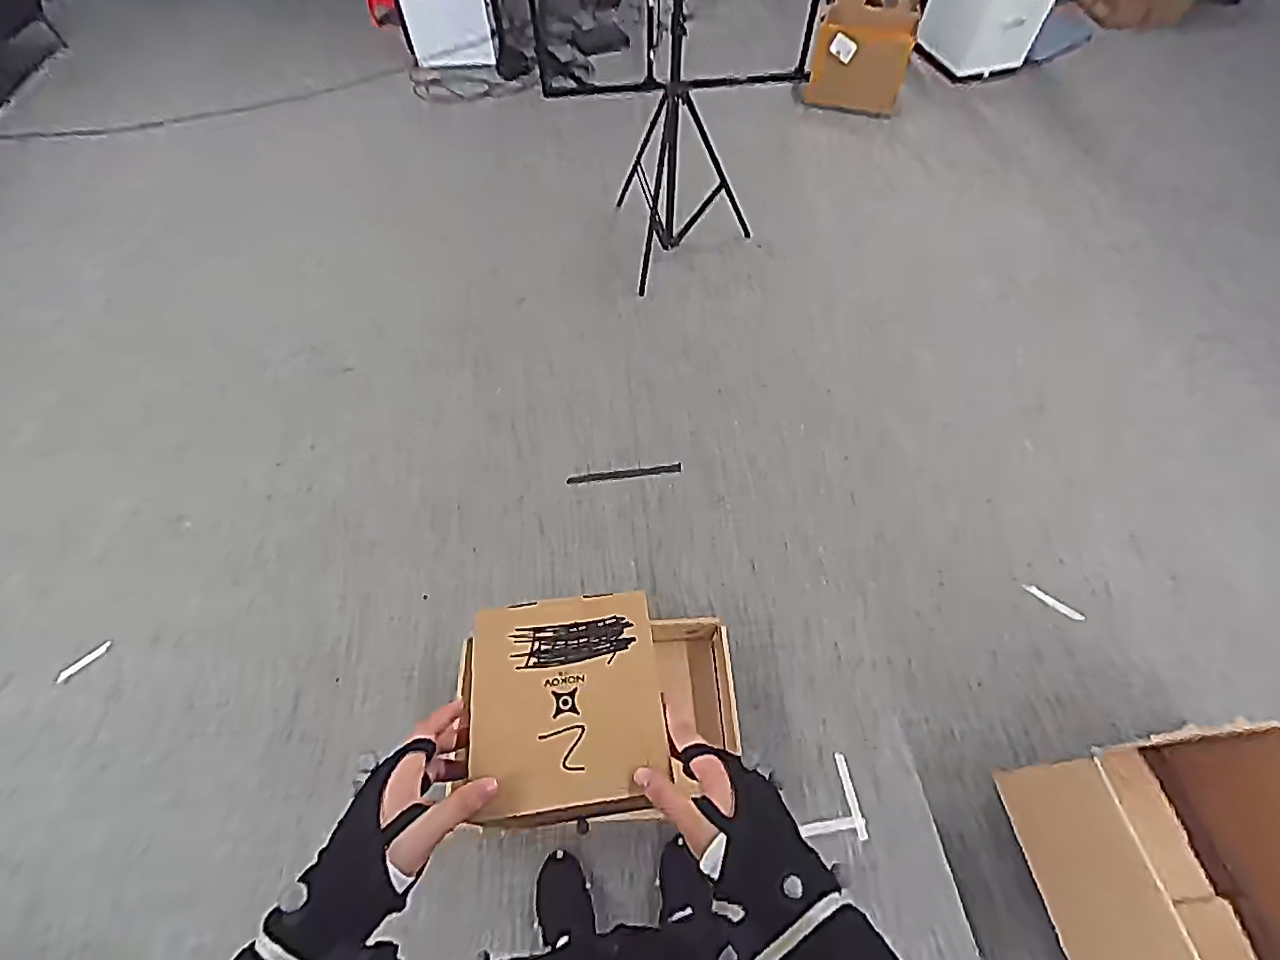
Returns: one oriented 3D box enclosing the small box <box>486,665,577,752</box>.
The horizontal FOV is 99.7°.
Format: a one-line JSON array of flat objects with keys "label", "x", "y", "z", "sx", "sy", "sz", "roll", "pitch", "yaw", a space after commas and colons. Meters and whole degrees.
[{"label": "small box", "x": -0.241, "y": 0.530, "z": 1.244, "sx": 0.179, "sy": 0.176, "sz": 0.168, "roll": -2, "pitch": 61, "yaw": -3}]
